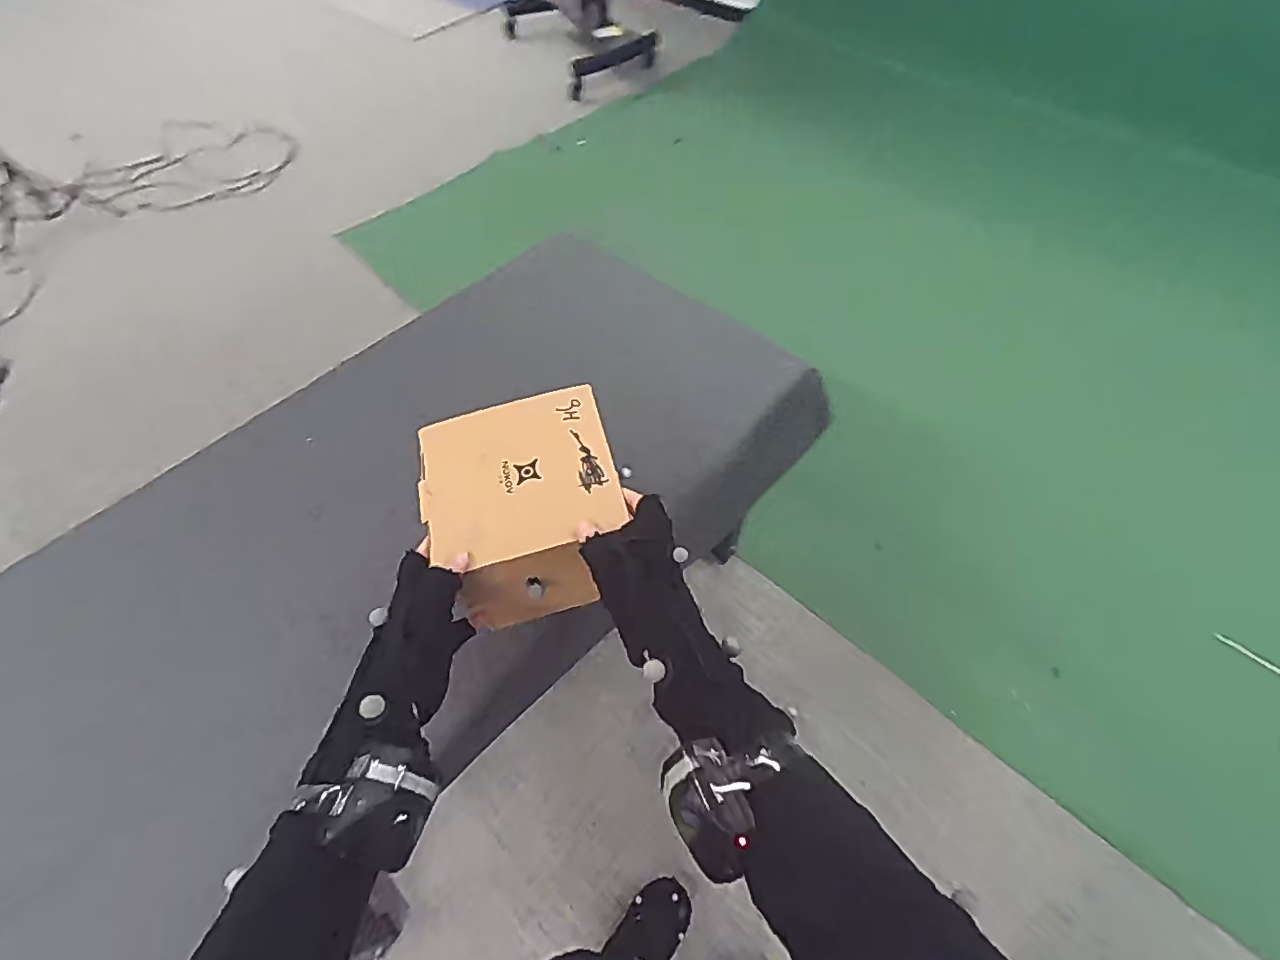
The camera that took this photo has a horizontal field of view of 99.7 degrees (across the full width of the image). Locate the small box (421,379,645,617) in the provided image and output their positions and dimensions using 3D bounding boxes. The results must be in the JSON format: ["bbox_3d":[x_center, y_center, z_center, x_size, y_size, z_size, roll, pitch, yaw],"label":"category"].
[{"bbox_3d":[-0.102,0.028,0.557,0.179,0.176,0.168,-15,62,-2],"label":"small box"}]
